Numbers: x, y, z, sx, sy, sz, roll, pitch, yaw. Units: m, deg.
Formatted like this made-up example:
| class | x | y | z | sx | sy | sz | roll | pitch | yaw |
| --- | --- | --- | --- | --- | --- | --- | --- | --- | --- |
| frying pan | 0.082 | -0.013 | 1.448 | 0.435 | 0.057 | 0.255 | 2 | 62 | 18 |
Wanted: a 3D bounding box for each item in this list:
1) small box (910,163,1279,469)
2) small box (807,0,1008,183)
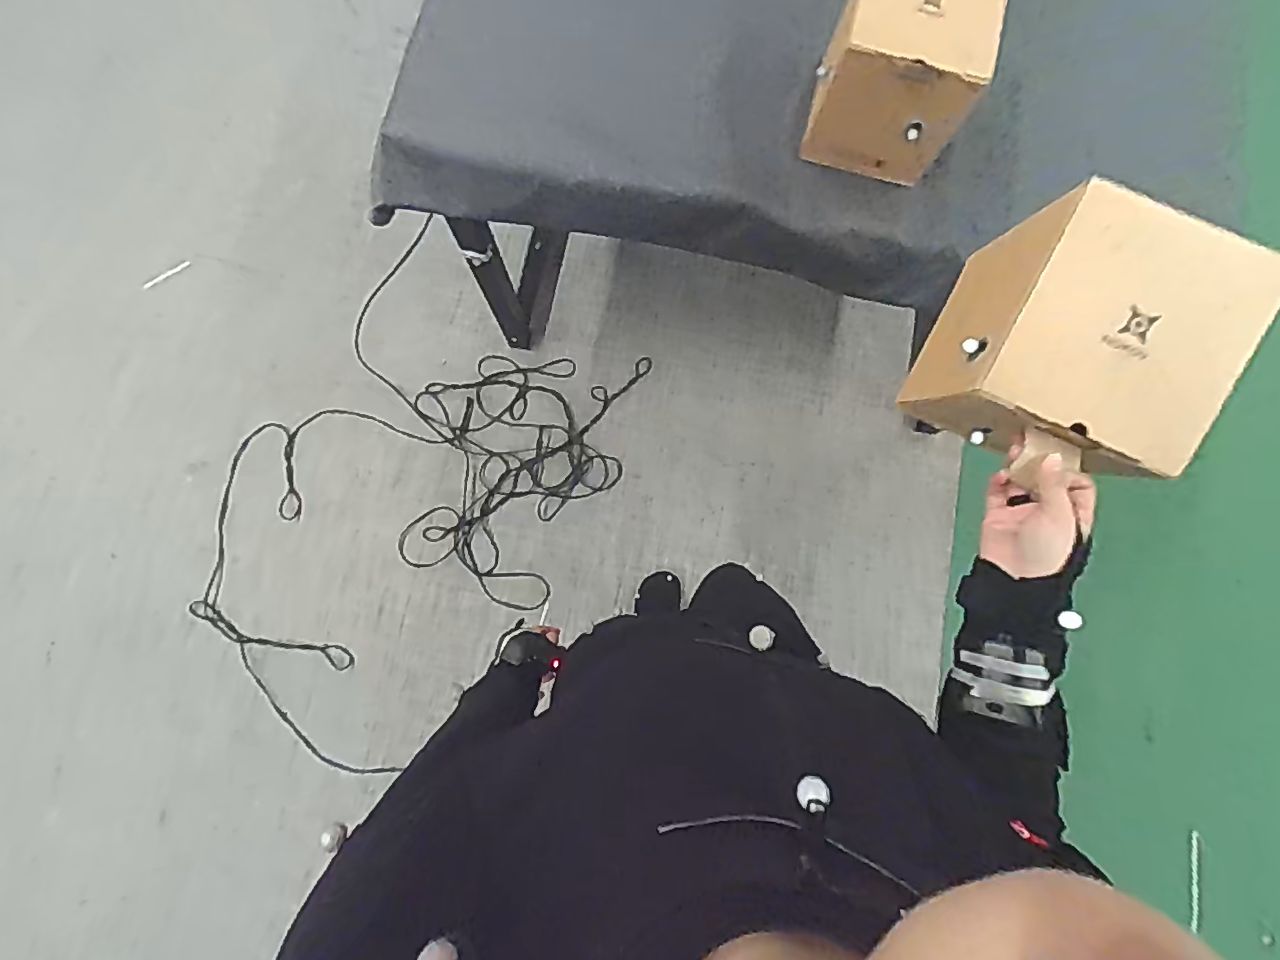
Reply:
| class | x | y | z | sx | sy | sz | roll | pitch | yaw |
| --- | --- | --- | --- | --- | --- | --- | --- | --- | --- |
| small box | 0.373 | -0.127 | 0.475 | 0.168 | 0.176 | 0.179 | 24 | 98 | 2 |
| small box | 0.327 | -0.521 | 0.687 | 0.168 | 0.176 | 0.179 | 15 | 79 | 0 |
